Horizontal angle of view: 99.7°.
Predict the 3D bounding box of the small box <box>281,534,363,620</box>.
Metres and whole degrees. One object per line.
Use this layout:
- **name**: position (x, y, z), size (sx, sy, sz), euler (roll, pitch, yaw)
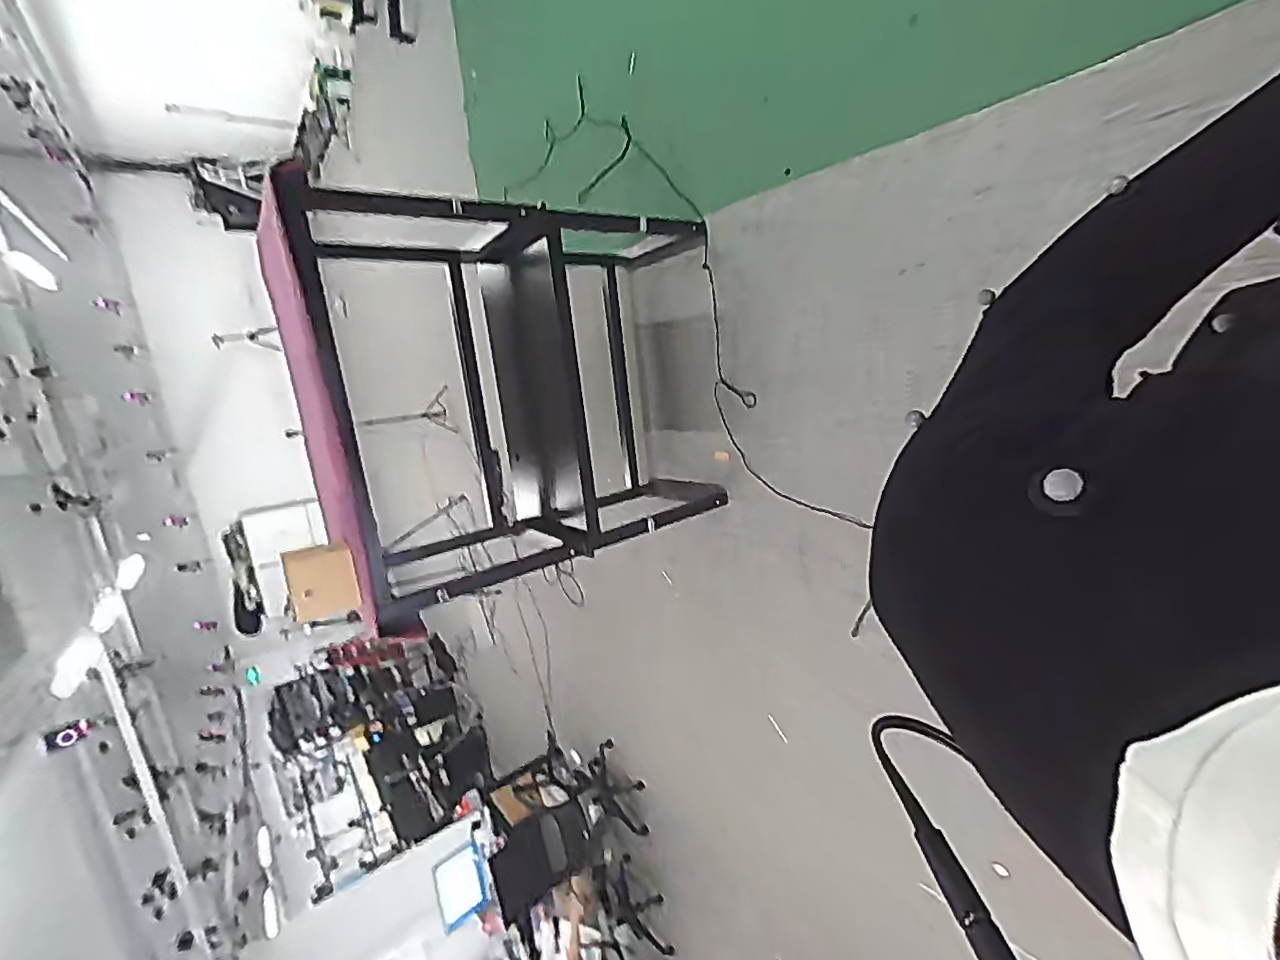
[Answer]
- **small box**: position (-0.912, 0.271, 1.553), size (0.168, 0.176, 0.179), euler (10, 109, 53)
